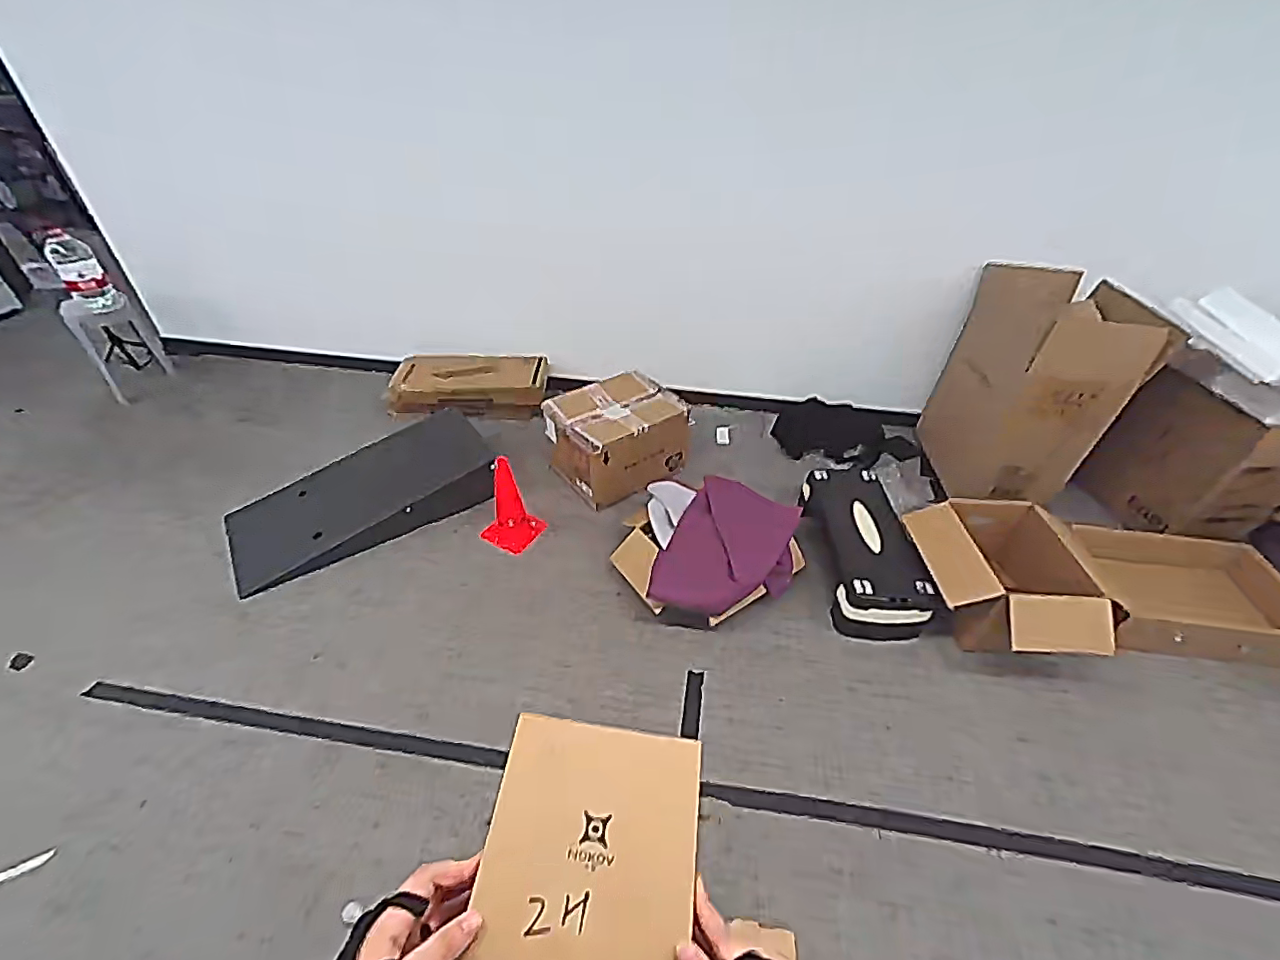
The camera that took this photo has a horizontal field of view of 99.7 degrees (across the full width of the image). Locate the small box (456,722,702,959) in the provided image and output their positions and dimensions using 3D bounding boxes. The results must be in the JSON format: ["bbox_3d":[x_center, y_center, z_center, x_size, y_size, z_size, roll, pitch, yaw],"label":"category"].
[{"bbox_3d":[-0.042,0.345,0.483,0.168,0.176,0.179,8,47,3],"label":"small box"}]

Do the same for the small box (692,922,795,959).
[{"bbox_3d":[0.174,0.906,0.936,0.168,0.176,0.179,5,41,5],"label":"small box"}]
